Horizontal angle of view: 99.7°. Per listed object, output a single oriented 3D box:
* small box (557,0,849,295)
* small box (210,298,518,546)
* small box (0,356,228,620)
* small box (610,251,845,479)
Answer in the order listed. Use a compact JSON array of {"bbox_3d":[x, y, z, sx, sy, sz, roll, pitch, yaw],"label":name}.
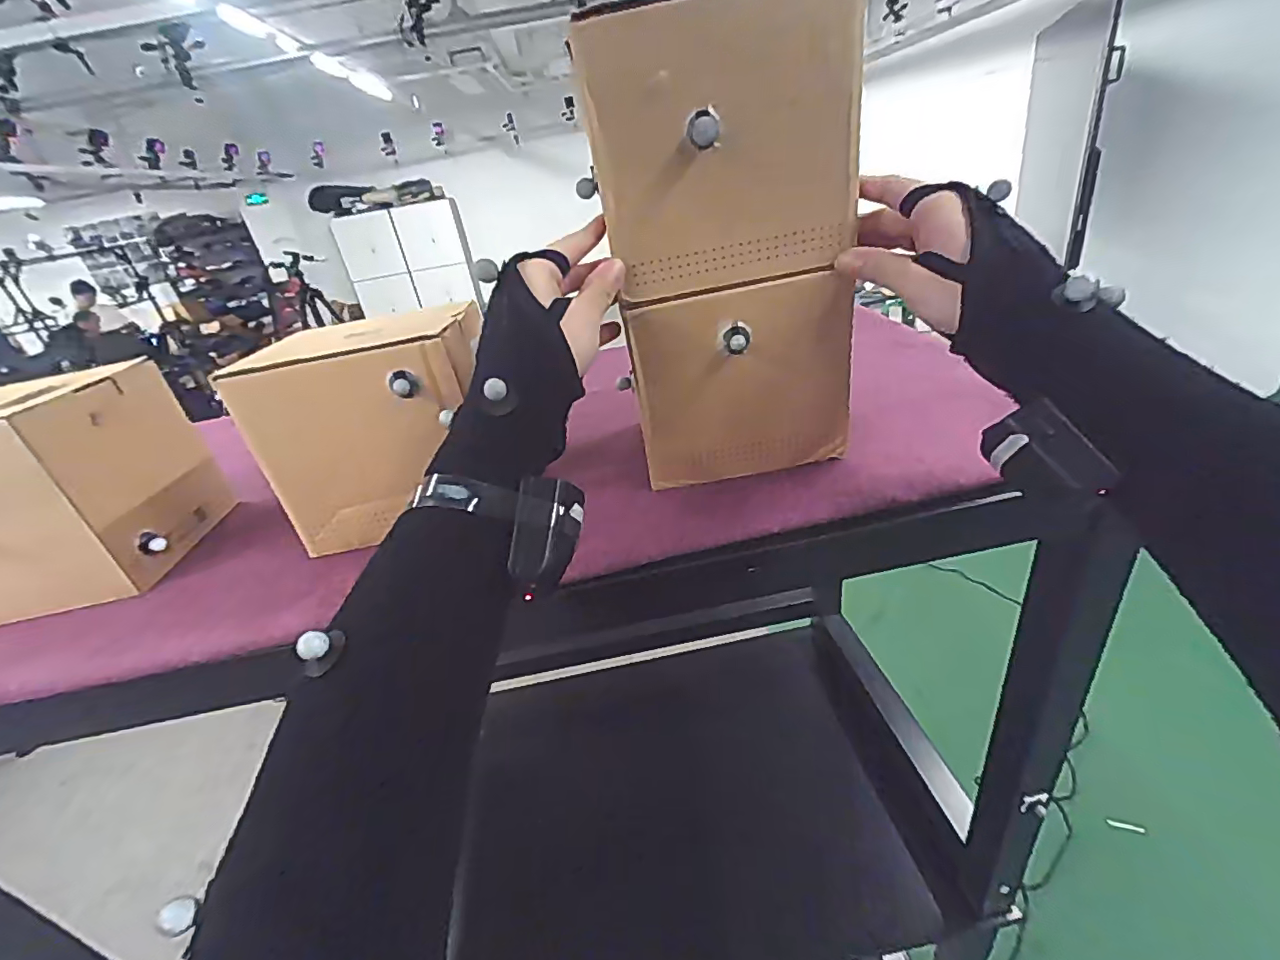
[{"bbox_3d":[0.048,-0.253,0.414,0.179,0.176,0.168,-12,33,2],"label":"small box"},{"bbox_3d":[-0.227,-0.058,0.503,0.179,0.176,0.168,-11,28,-2],"label":"small box"},{"bbox_3d":[-0.529,0.007,0.485,0.179,0.176,0.168,-13,29,-3],"label":"small box"},{"bbox_3d":[0.074,-0.116,0.499,0.179,0.176,0.168,-10,32,2],"label":"small box"}]
